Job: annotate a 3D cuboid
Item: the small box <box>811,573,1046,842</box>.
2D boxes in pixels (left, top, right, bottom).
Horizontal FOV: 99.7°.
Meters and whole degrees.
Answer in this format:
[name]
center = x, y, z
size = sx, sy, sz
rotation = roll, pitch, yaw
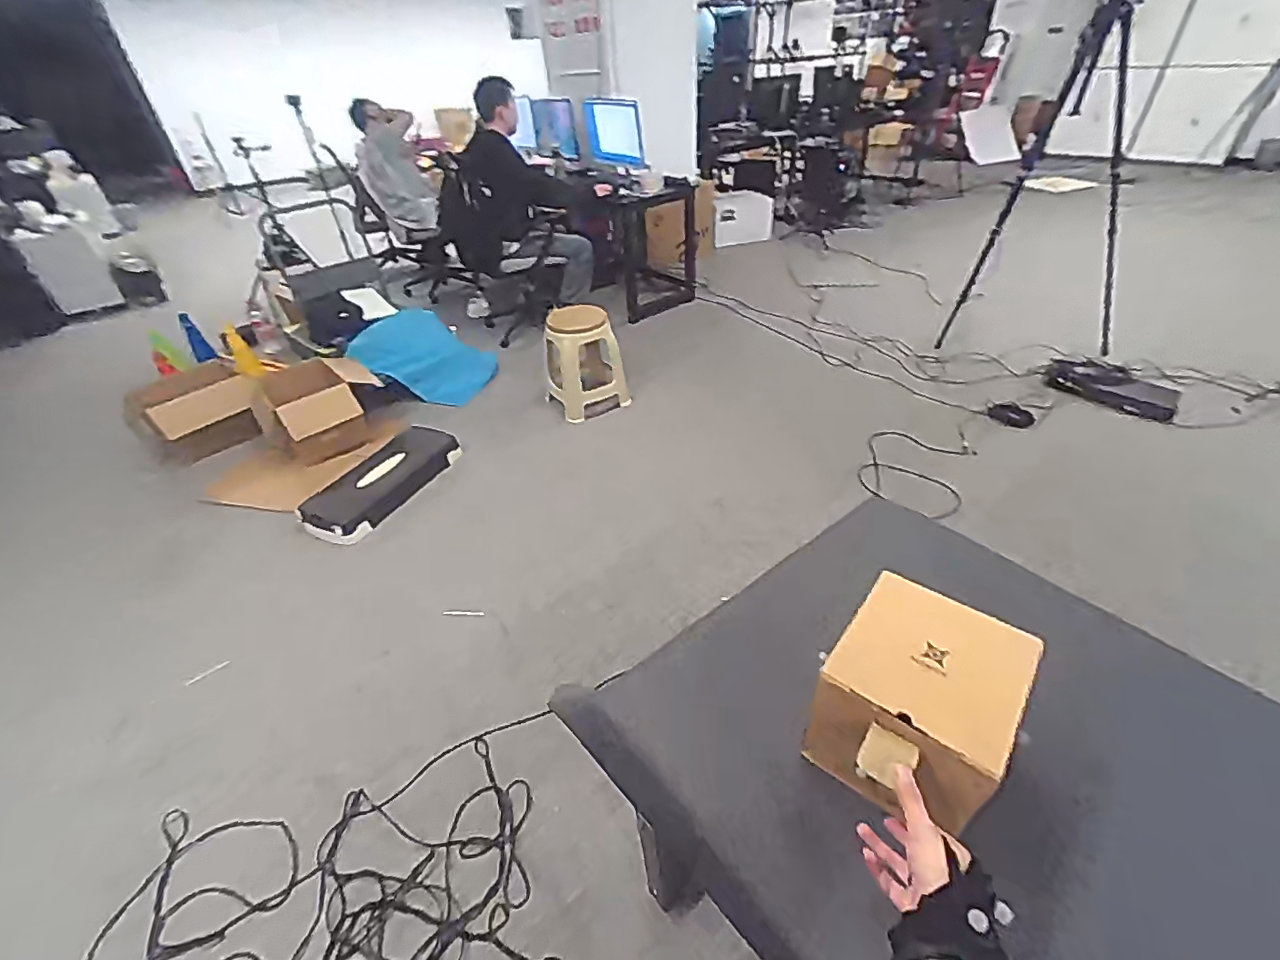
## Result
[small box]
center = 0.305, 0.244, 0.597
size = 0.168, 0.176, 0.179
rotation = 25, 47, 32
